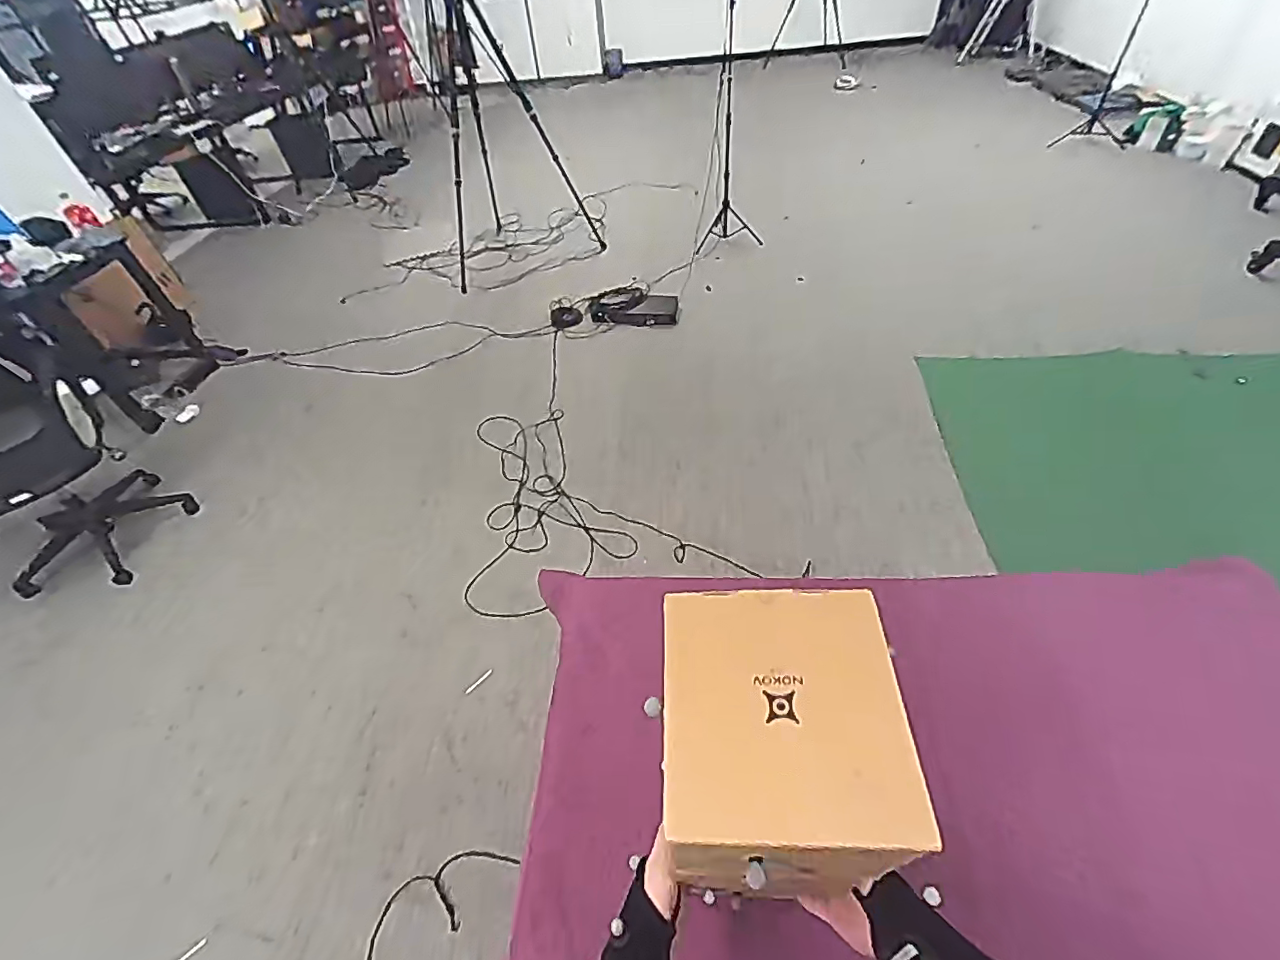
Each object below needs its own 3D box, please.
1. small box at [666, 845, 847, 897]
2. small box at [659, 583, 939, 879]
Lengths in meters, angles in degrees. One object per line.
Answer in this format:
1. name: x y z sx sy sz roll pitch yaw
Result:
1. small box: 0.117 0.307 0.554 0.168 0.176 0.179 -1 46 6
2. small box: 0.106 0.202 0.432 0.168 0.176 0.179 -2 46 6
